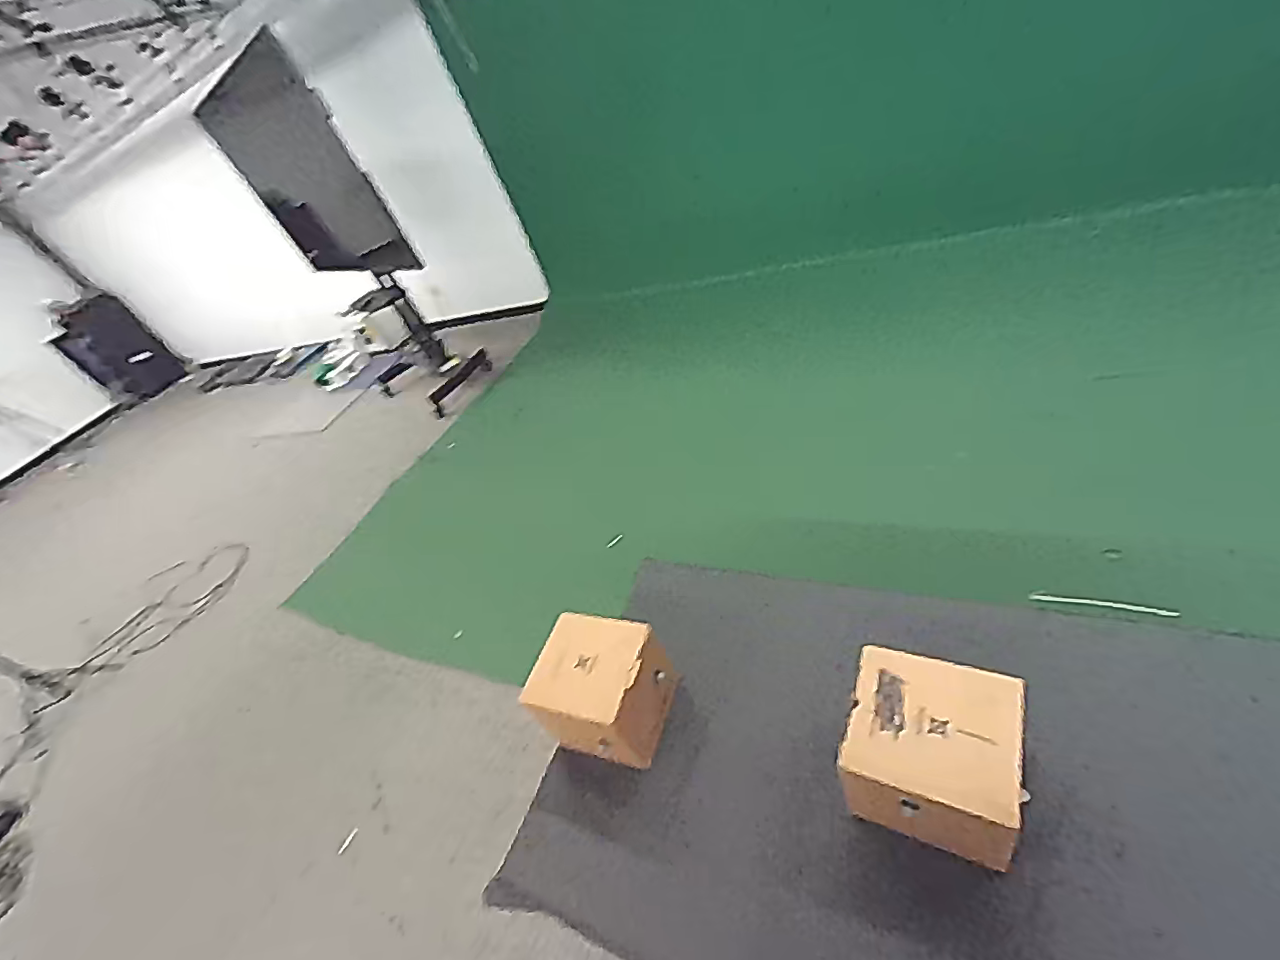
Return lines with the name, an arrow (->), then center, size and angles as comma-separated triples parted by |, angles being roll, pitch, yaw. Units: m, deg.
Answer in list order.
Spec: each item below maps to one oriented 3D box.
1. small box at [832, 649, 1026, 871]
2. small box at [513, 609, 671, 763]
small box -> 0.358, 0.344, 0.670 | 0.179, 0.176, 0.168 | 8, 50, 35
small box -> -0.067, 0.337, 0.887 | 0.179, 0.176, 0.168 | -1, 43, 29
